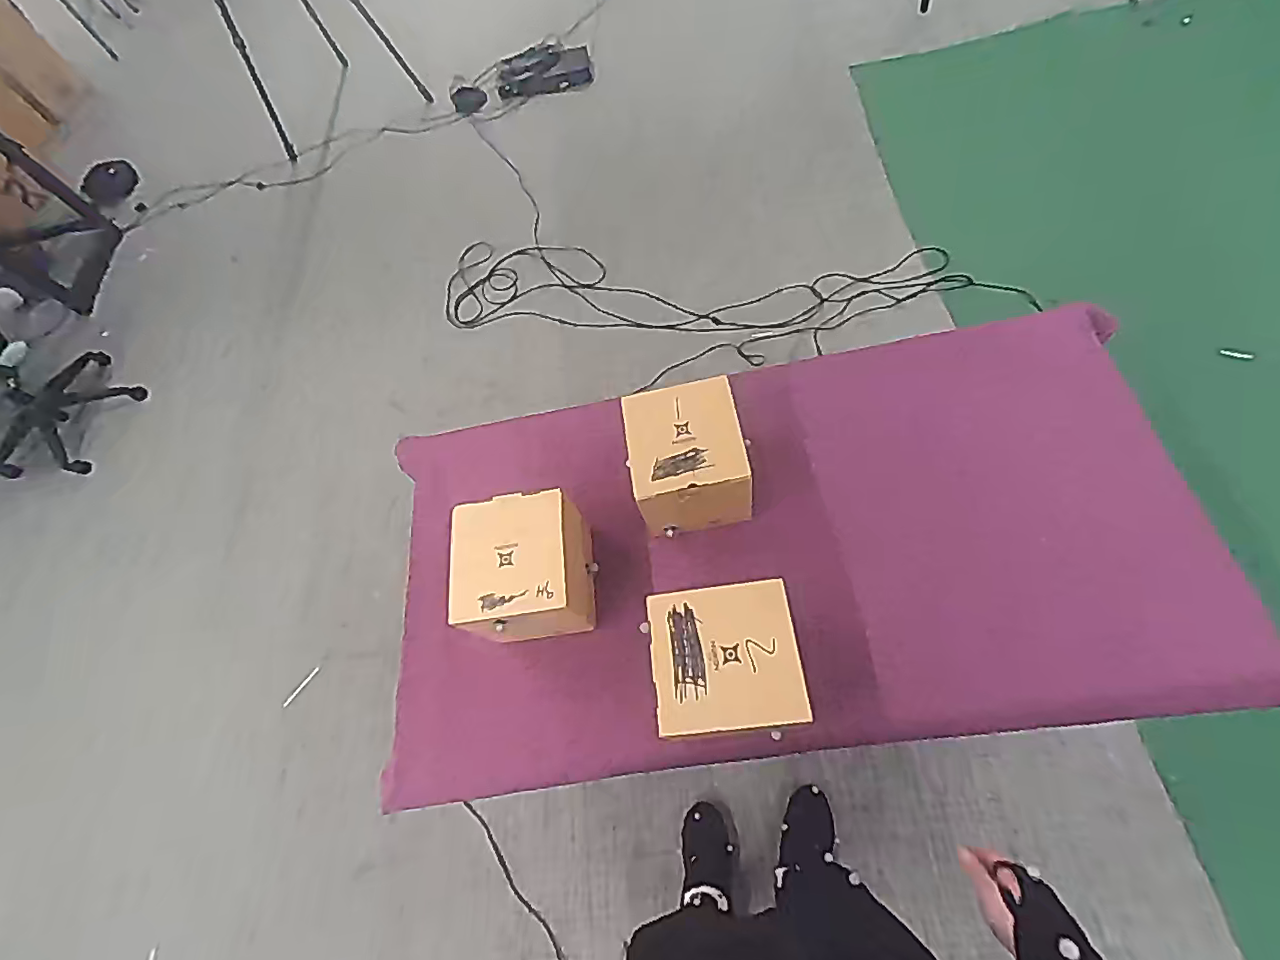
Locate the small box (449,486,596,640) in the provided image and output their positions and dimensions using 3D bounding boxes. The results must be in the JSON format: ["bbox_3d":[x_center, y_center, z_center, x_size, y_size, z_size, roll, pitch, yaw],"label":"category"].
[{"bbox_3d":[-0.168,0.132,0.820,0.168,0.176,0.179,-10,63,8],"label":"small box"}]

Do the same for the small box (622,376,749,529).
[{"bbox_3d":[0.076,-0.032,0.852,0.168,0.176,0.179,-11,63,6],"label":"small box"}]
